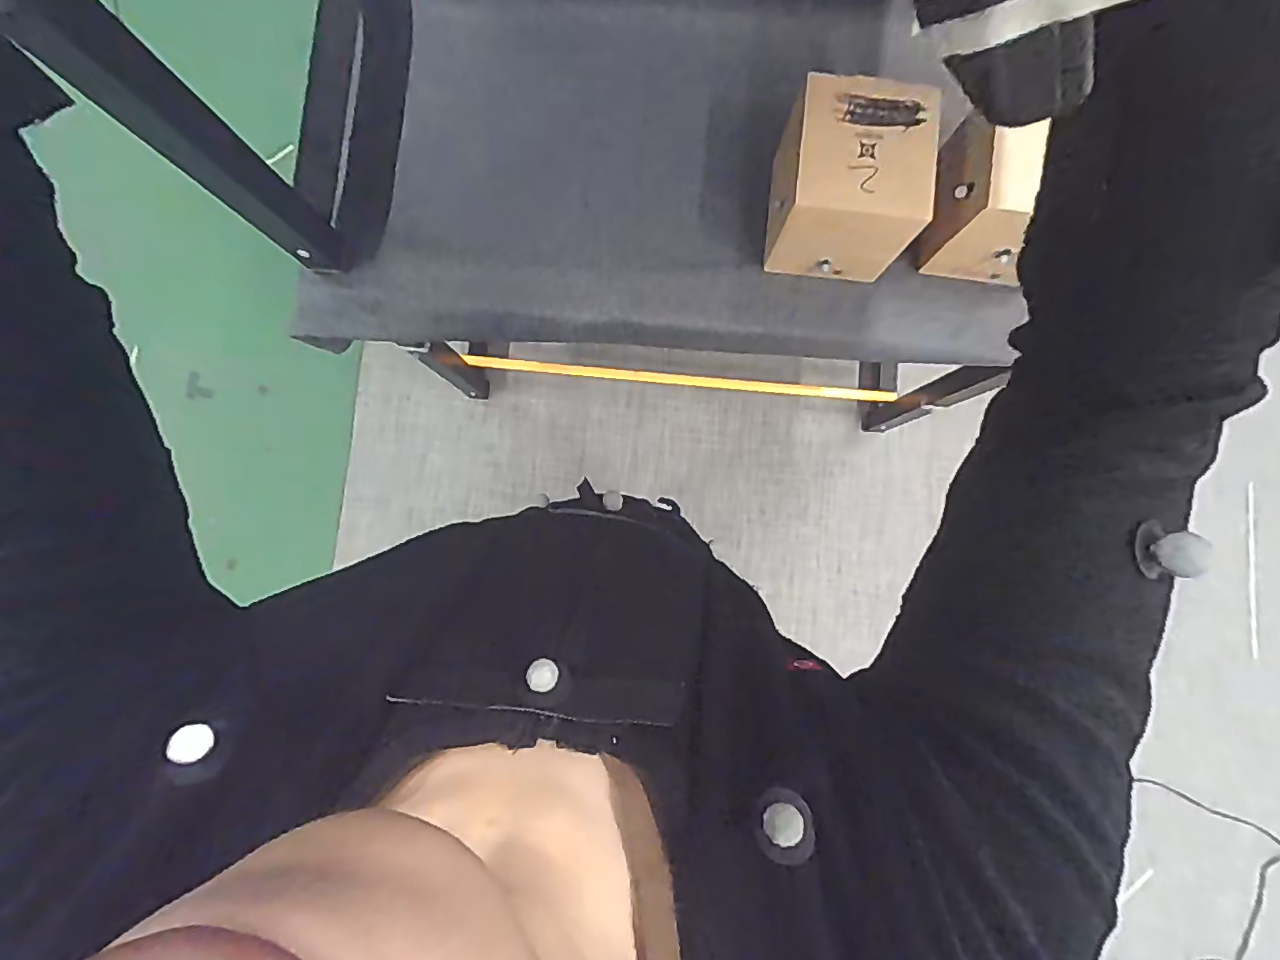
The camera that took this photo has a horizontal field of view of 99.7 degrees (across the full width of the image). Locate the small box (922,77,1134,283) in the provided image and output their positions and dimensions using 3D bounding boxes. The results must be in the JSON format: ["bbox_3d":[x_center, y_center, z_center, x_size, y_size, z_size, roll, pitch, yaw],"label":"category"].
[{"bbox_3d":[0.506,-0.388,0.730,0.168,0.176,0.179,8,84,1],"label":"small box"}]
